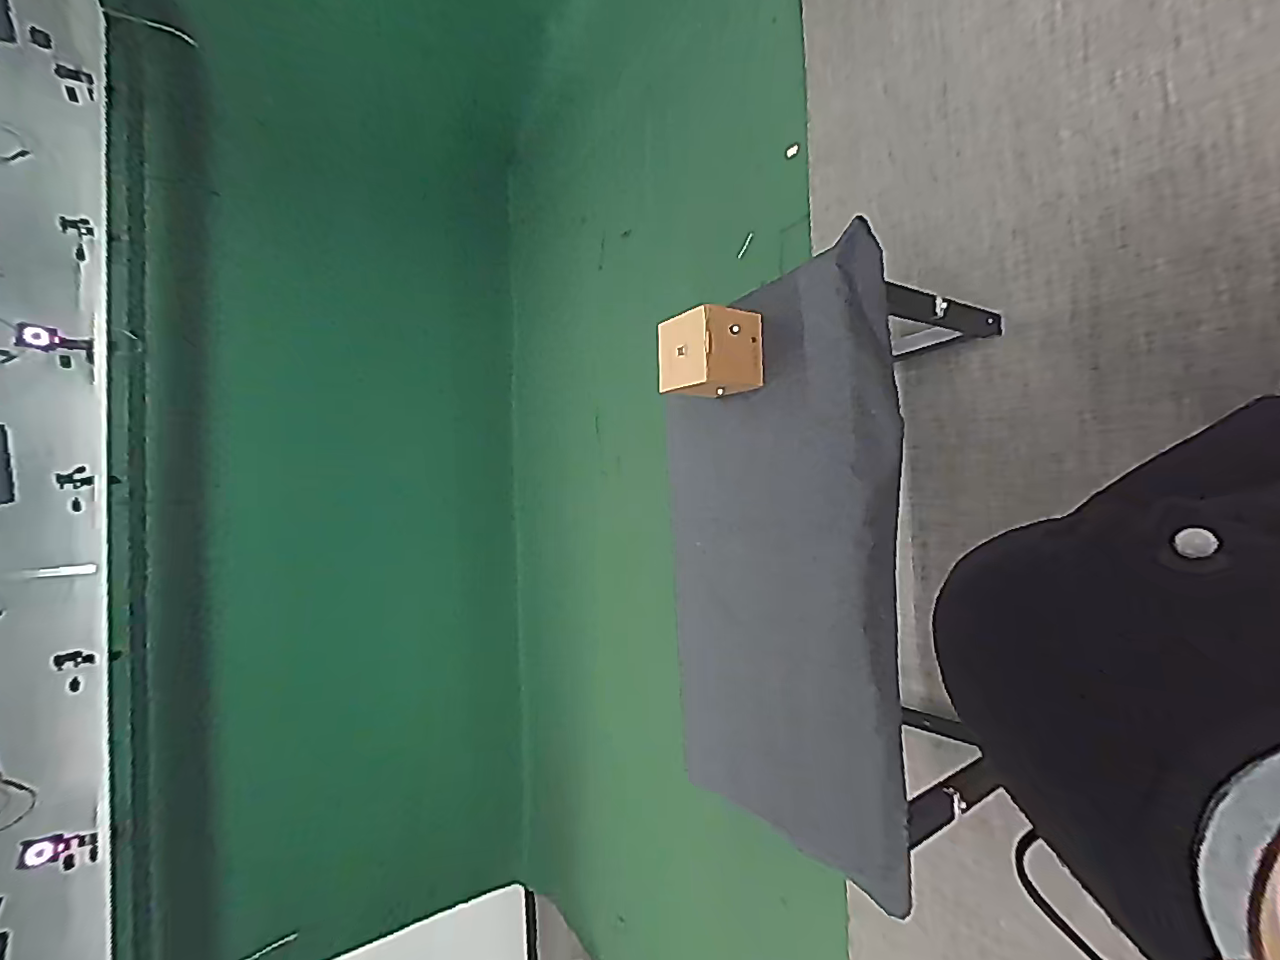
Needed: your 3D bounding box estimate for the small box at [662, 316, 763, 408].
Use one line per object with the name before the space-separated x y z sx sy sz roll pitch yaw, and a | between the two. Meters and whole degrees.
small box | 0.168 -0.264 1.249 0.179 0.176 0.168 -3 85 58
